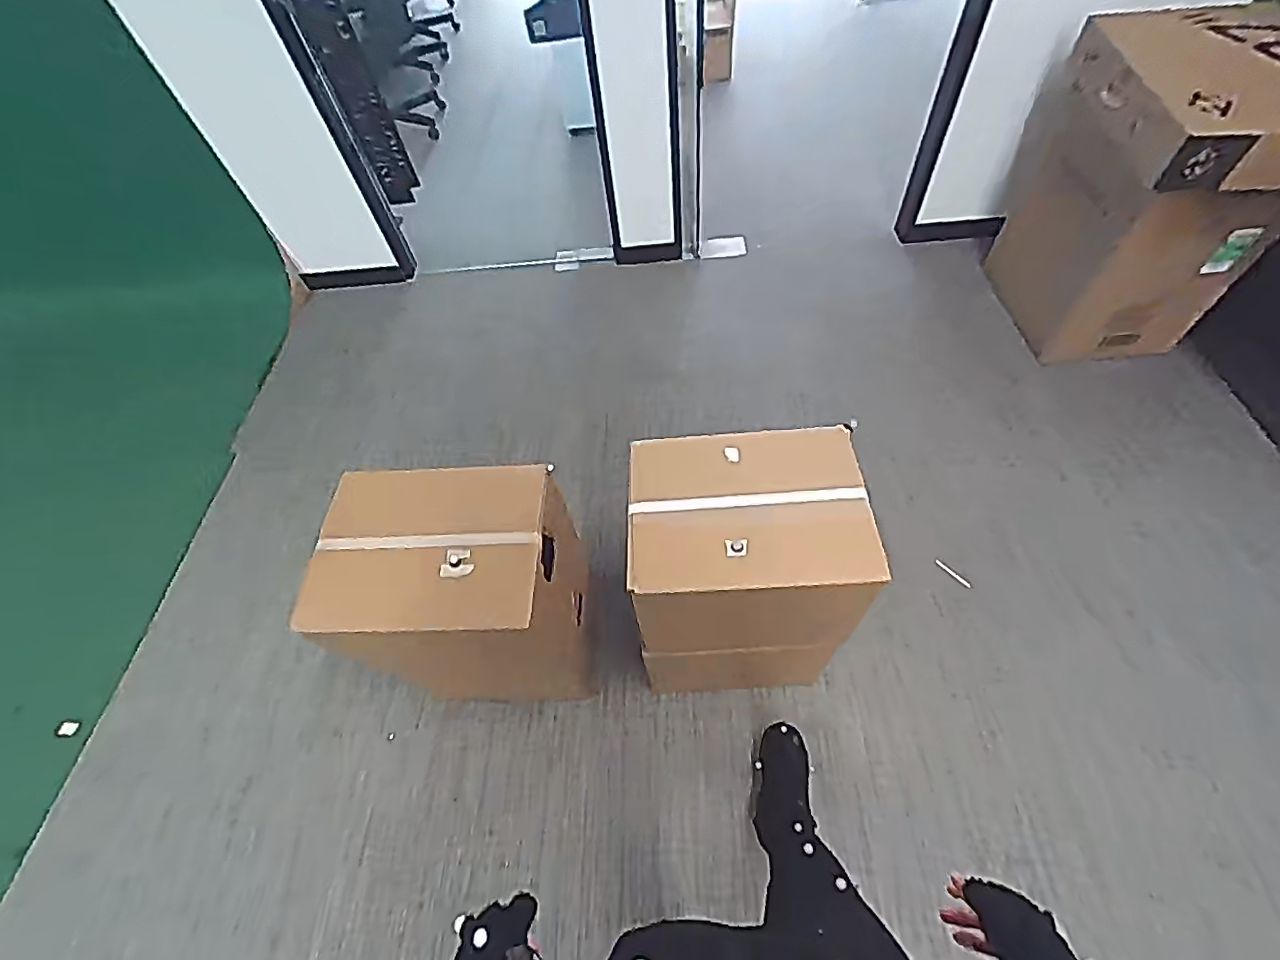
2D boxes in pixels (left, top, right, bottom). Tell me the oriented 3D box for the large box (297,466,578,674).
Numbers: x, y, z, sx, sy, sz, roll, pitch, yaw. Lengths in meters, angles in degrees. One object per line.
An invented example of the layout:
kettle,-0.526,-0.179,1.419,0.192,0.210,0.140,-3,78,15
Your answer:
large box,-0.355,0.189,1.075,0.408,0.320,0.320,-2,58,4
